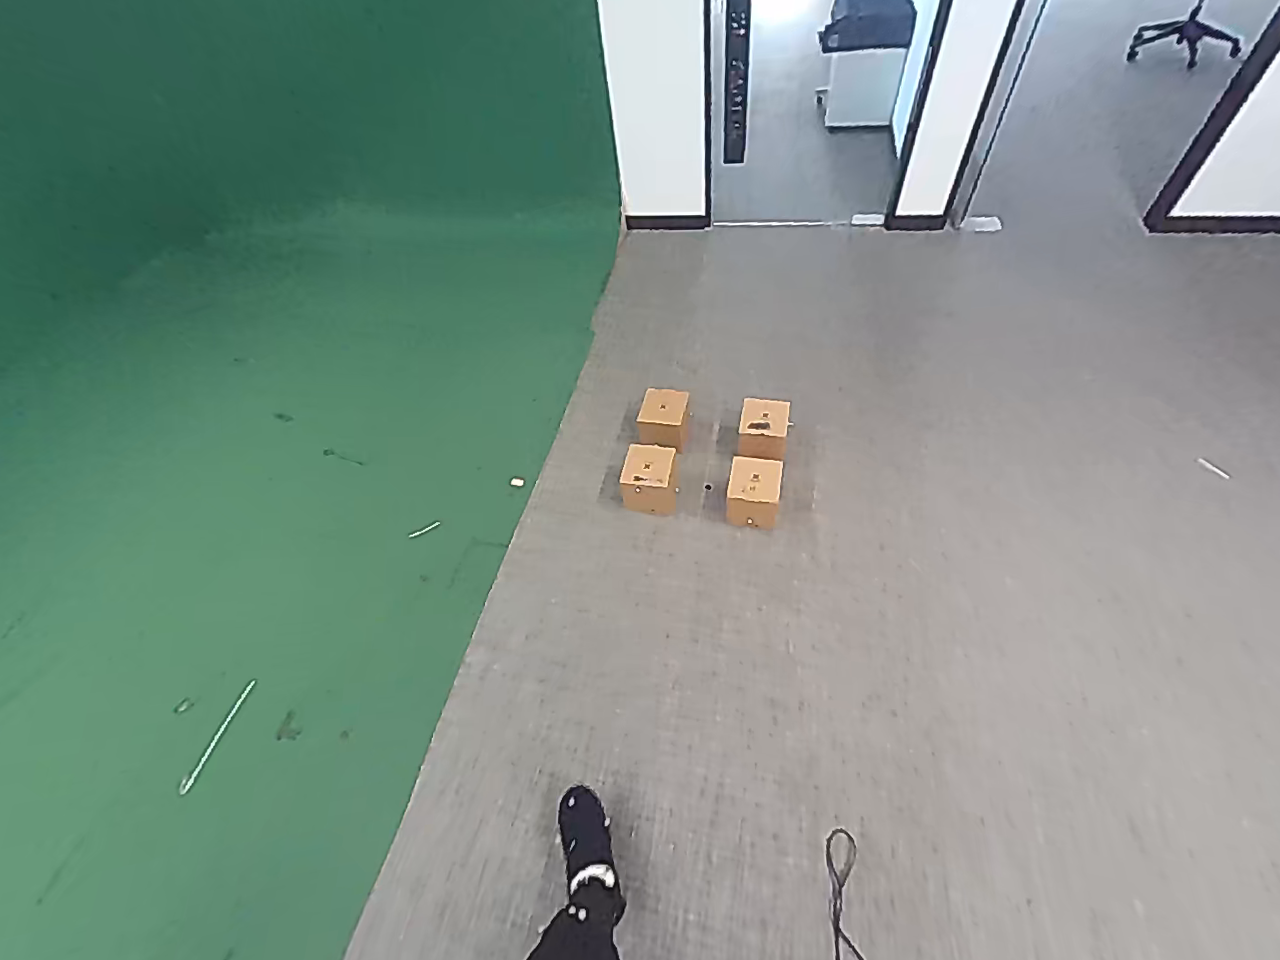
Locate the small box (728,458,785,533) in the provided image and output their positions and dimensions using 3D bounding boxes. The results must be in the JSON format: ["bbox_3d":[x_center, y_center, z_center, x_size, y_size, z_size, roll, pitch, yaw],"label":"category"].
[{"bbox_3d":[0.390,0.052,1.822,0.168,0.176,0.179,7,54,14],"label":"small box"}]

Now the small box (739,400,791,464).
[{"bbox_3d":[0.457,-0.167,1.980,0.168,0.176,0.179,8,54,14],"label":"small box"}]

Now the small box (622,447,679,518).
[{"bbox_3d":[0.044,0.010,1.906,0.168,0.176,0.179,6,53,13],"label":"small box"}]
